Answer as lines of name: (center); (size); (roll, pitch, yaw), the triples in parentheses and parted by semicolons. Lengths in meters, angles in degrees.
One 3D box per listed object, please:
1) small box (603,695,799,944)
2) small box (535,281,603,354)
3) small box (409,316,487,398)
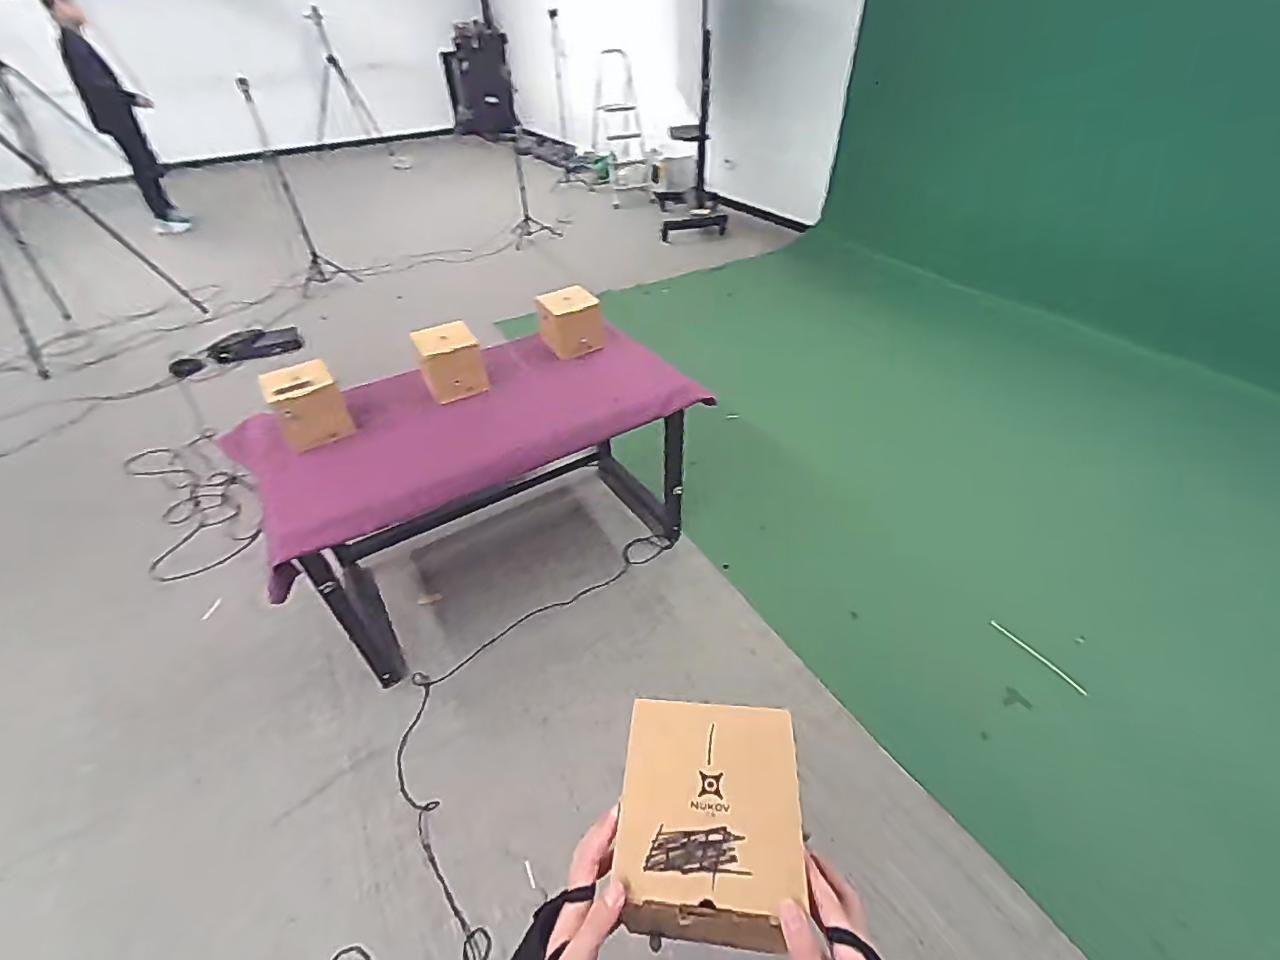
small box: (0.065, 0.348, 0.557); (0.168, 0.176, 0.179); (1, 42, 8)
small box: (-0.241, -0.555, 1.852); (0.168, 0.176, 0.179); (-24, 48, -20)
small box: (-0.591, -0.381, 1.674); (0.168, 0.176, 0.179); (-23, 48, -23)
